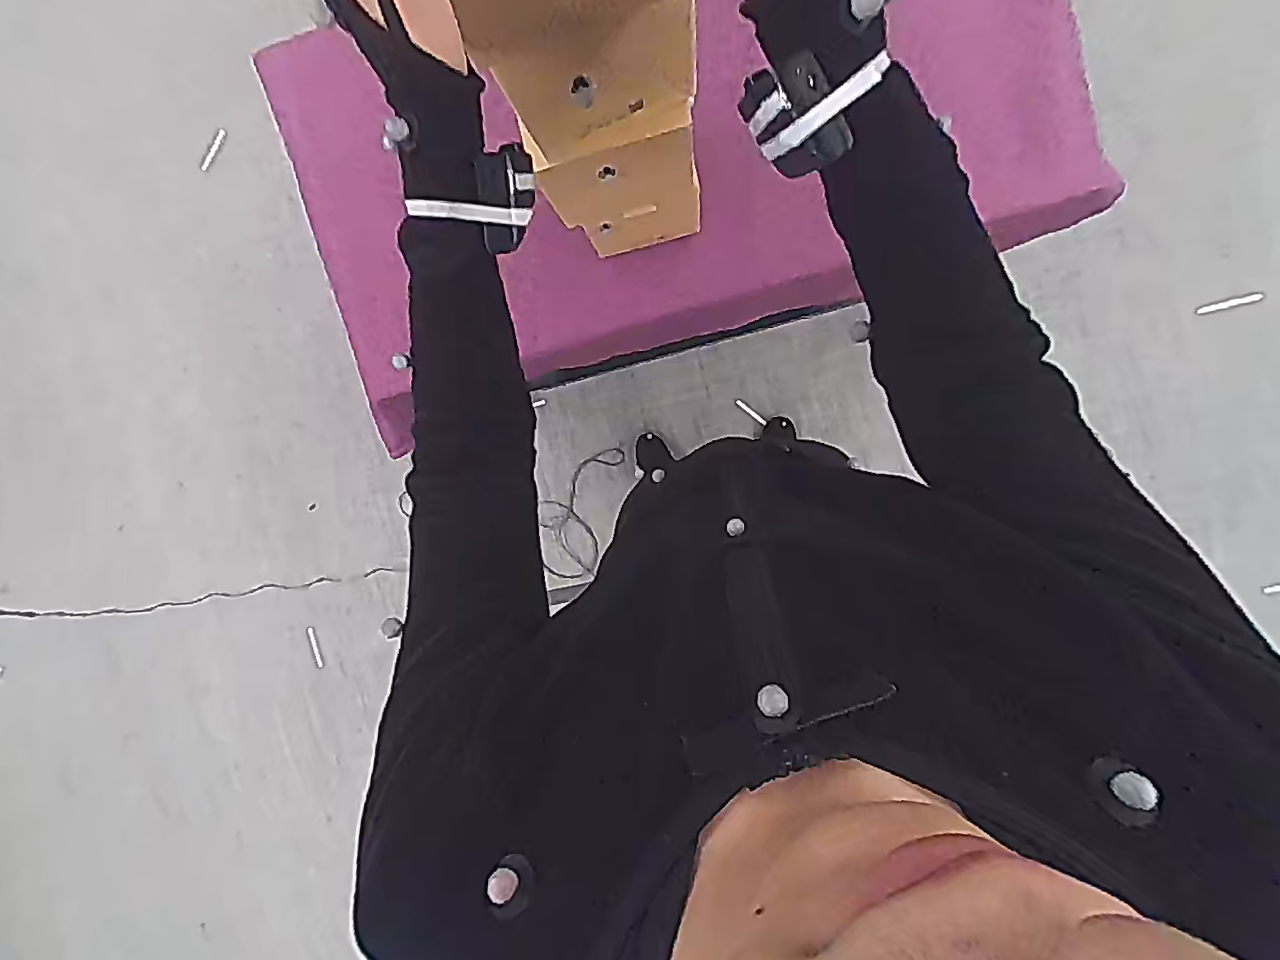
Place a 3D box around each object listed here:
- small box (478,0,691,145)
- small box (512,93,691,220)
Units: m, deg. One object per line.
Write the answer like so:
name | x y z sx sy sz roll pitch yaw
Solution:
small box | -0.059 -0.426 0.463 0.168 0.176 0.179 -20 93 9
small box | -0.042 -0.427 0.625 0.179 0.176 0.168 -12 95 7
